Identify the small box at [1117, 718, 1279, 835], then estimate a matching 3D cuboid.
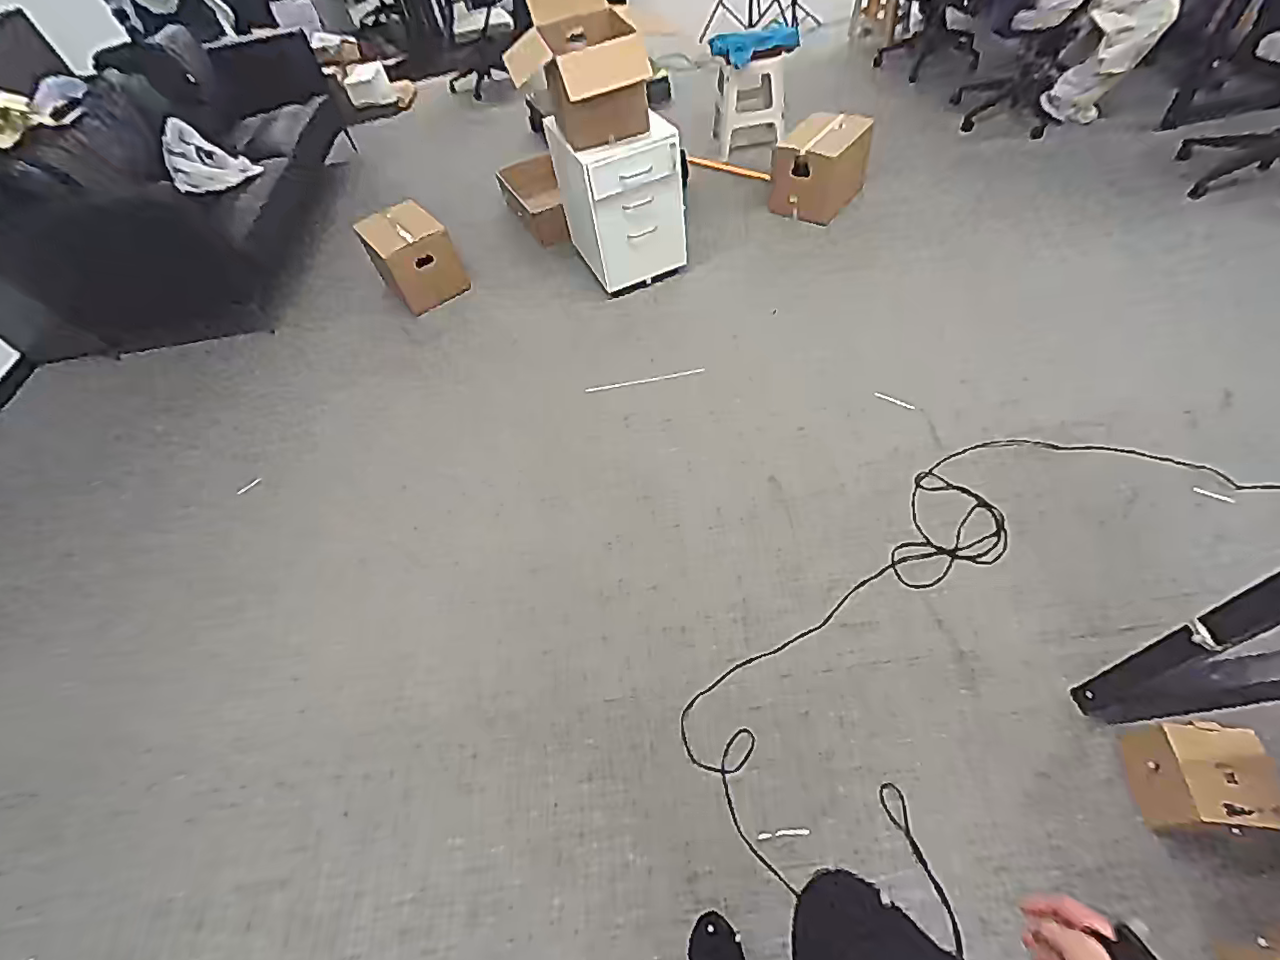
[{"bbox_3d":[1.138,0.607,1.106,0.168,0.176,0.179,0,53,10],"label":"small box"}]
